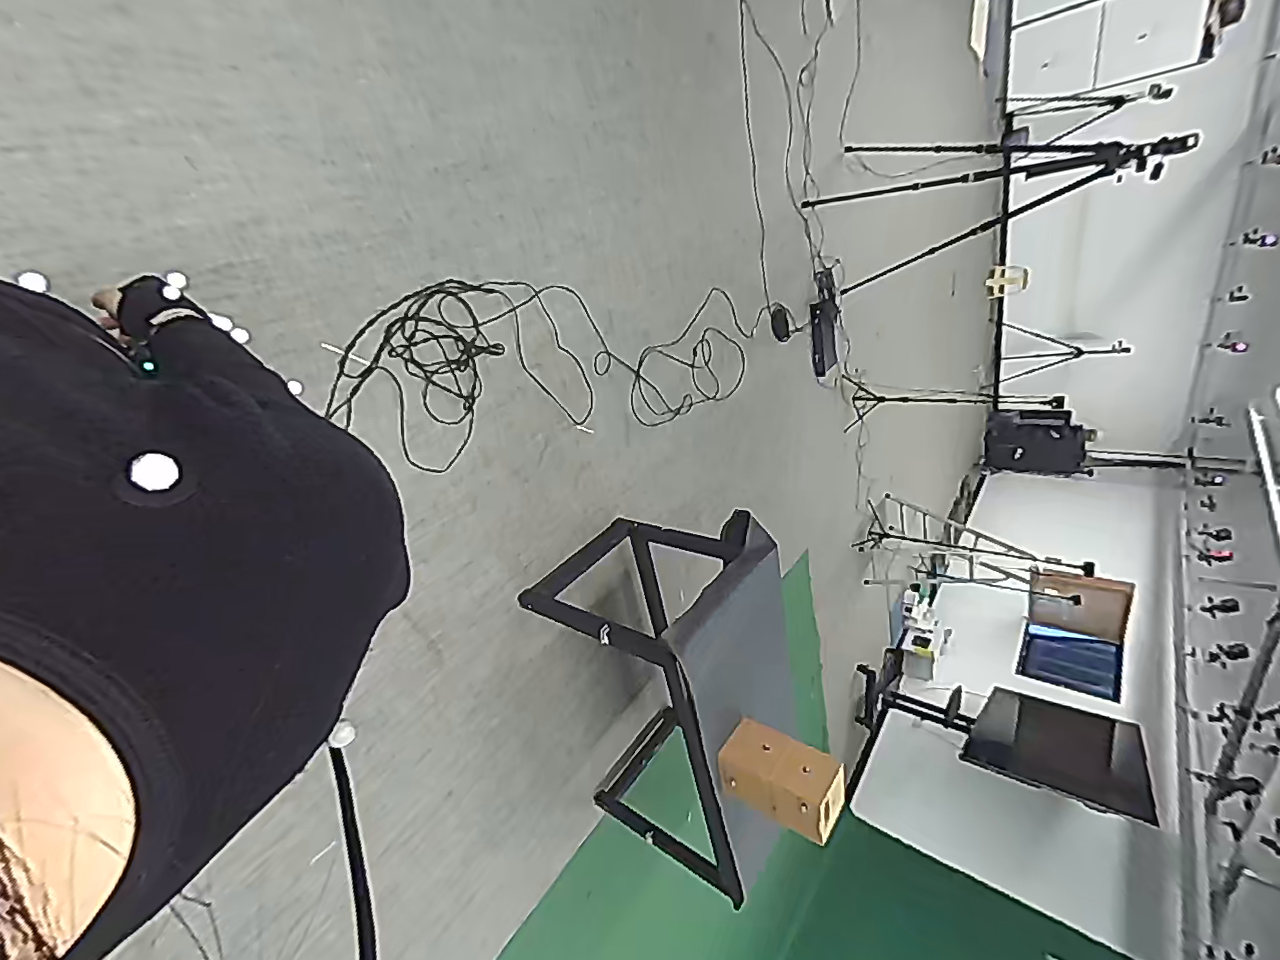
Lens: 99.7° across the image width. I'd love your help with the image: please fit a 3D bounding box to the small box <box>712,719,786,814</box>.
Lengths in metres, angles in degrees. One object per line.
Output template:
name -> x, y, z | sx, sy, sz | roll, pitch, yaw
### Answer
small box -> 0.348, 0.904, 1.724 | 0.179, 0.176, 0.168 | -32, 120, -43
